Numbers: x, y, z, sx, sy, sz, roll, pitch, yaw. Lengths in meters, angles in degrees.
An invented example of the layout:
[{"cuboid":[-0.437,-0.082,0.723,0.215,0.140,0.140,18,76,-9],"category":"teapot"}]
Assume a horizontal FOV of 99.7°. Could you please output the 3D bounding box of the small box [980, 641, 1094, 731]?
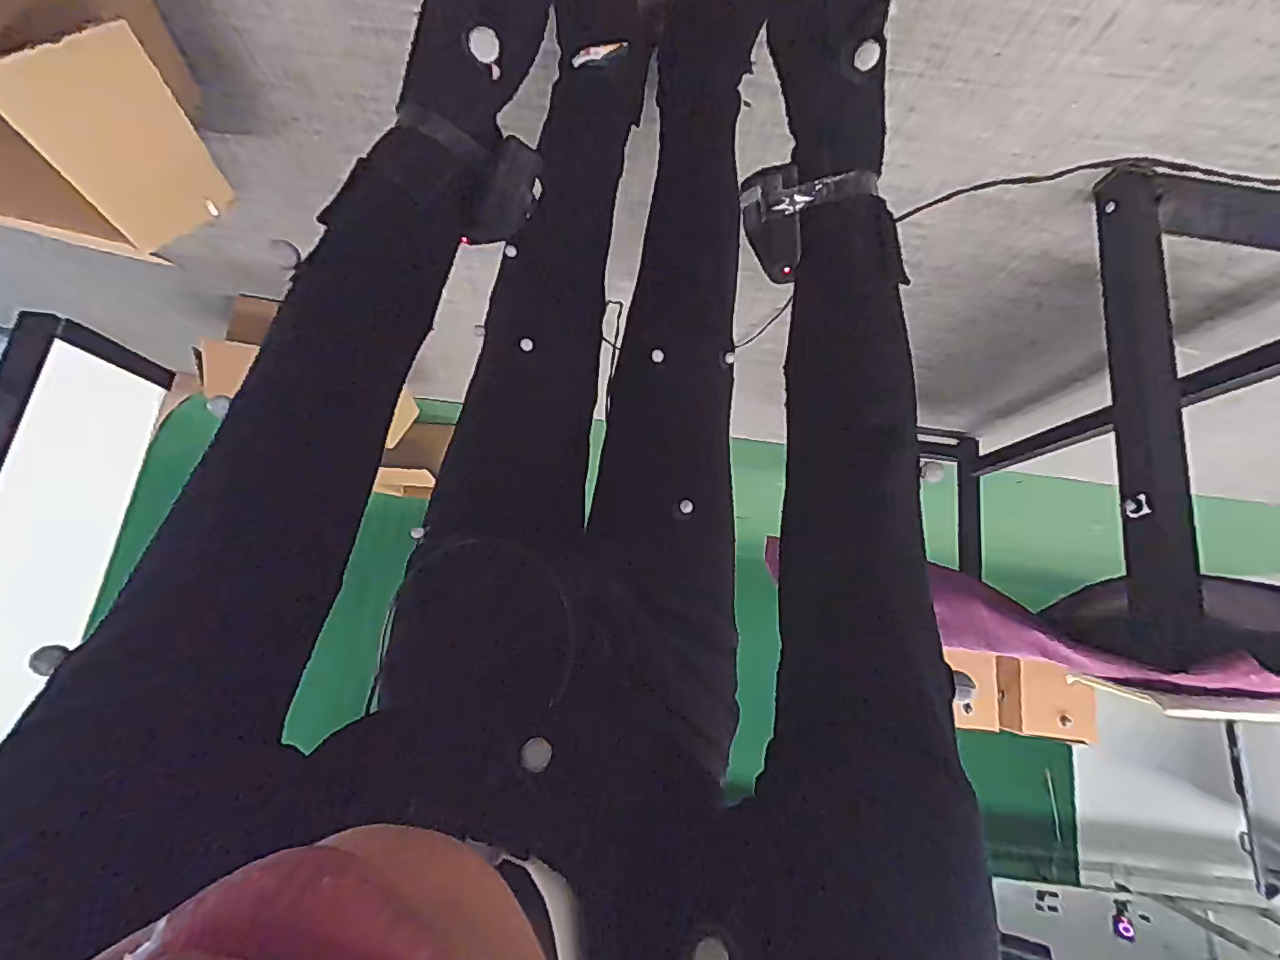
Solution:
[{"cuboid":[0.914,0.477,1.276,0.179,0.176,0.168,7,167,-2],"category":"small box"}]
